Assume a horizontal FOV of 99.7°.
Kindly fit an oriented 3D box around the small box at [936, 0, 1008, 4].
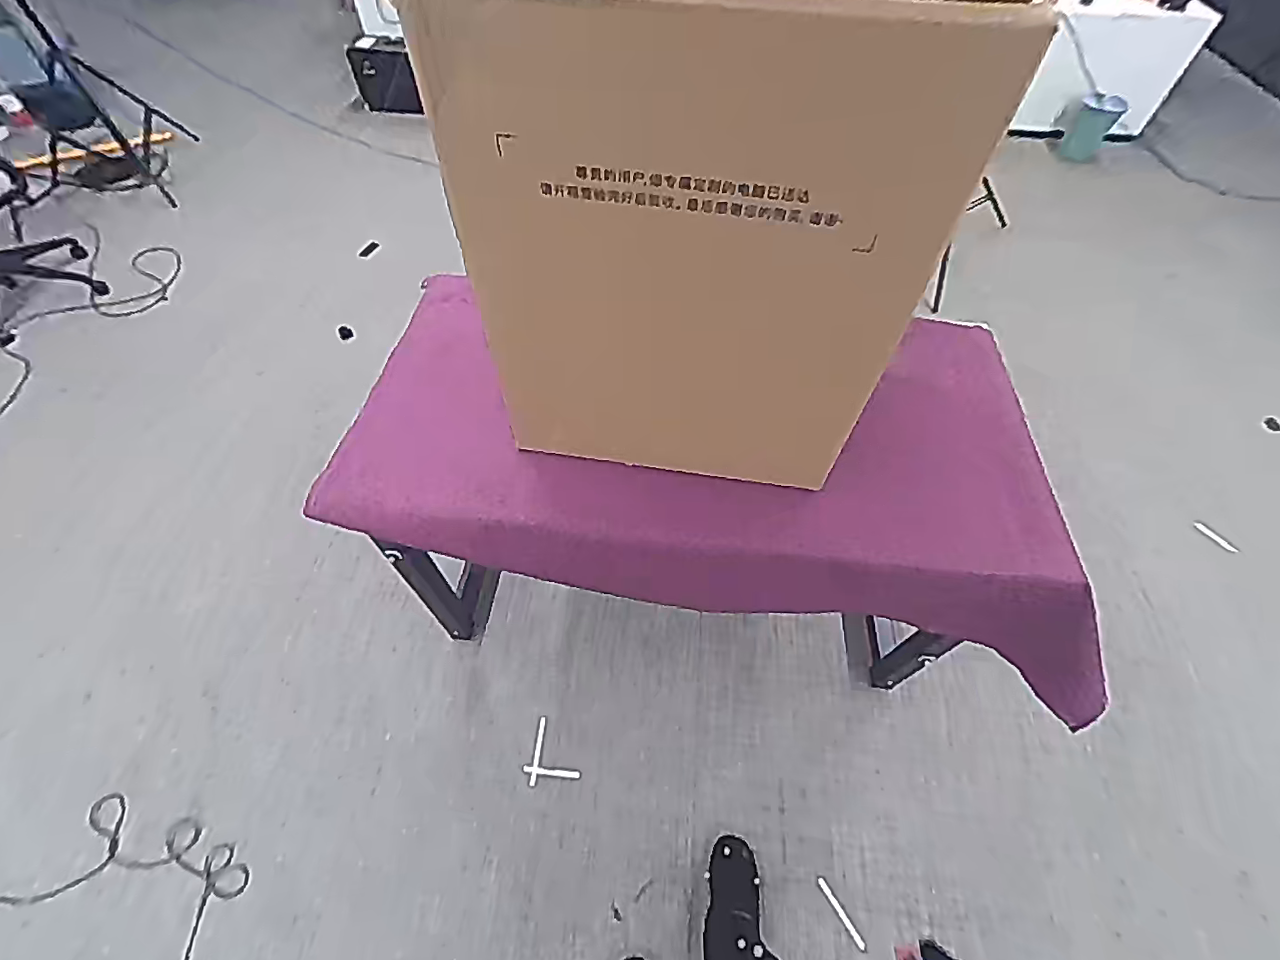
[{"bbox_3d":[0.232,-0.489,0.402,0.168,0.176,0.179,8,57,4],"label":"small box"}]
